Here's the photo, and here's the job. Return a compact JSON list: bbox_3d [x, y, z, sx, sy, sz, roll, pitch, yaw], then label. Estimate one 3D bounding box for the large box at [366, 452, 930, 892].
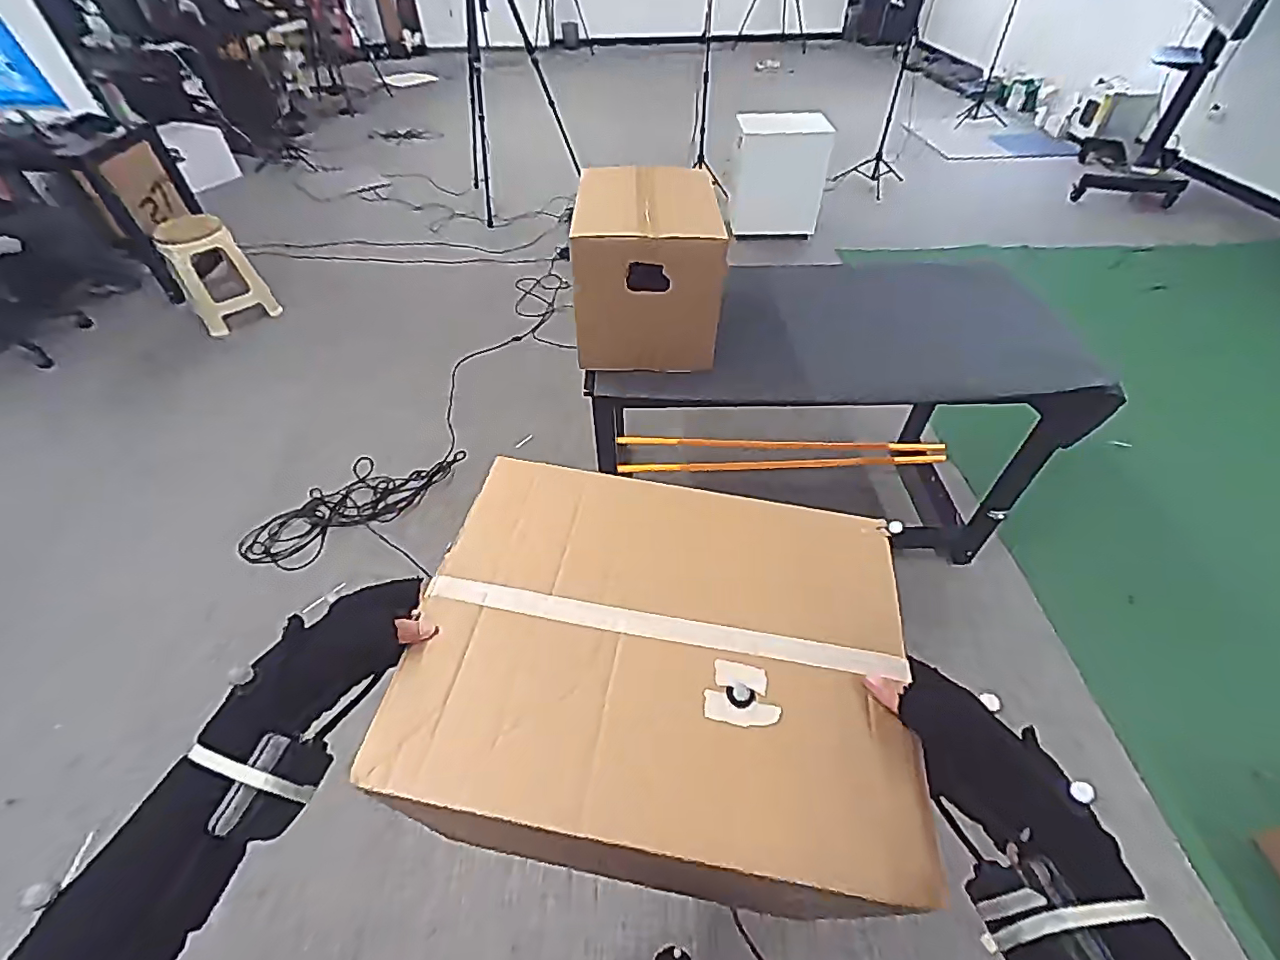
[{"bbox_3d":[0.012,0.209,0.577,0.408,0.320,0.320,10,52,3],"label":"large box"}]
